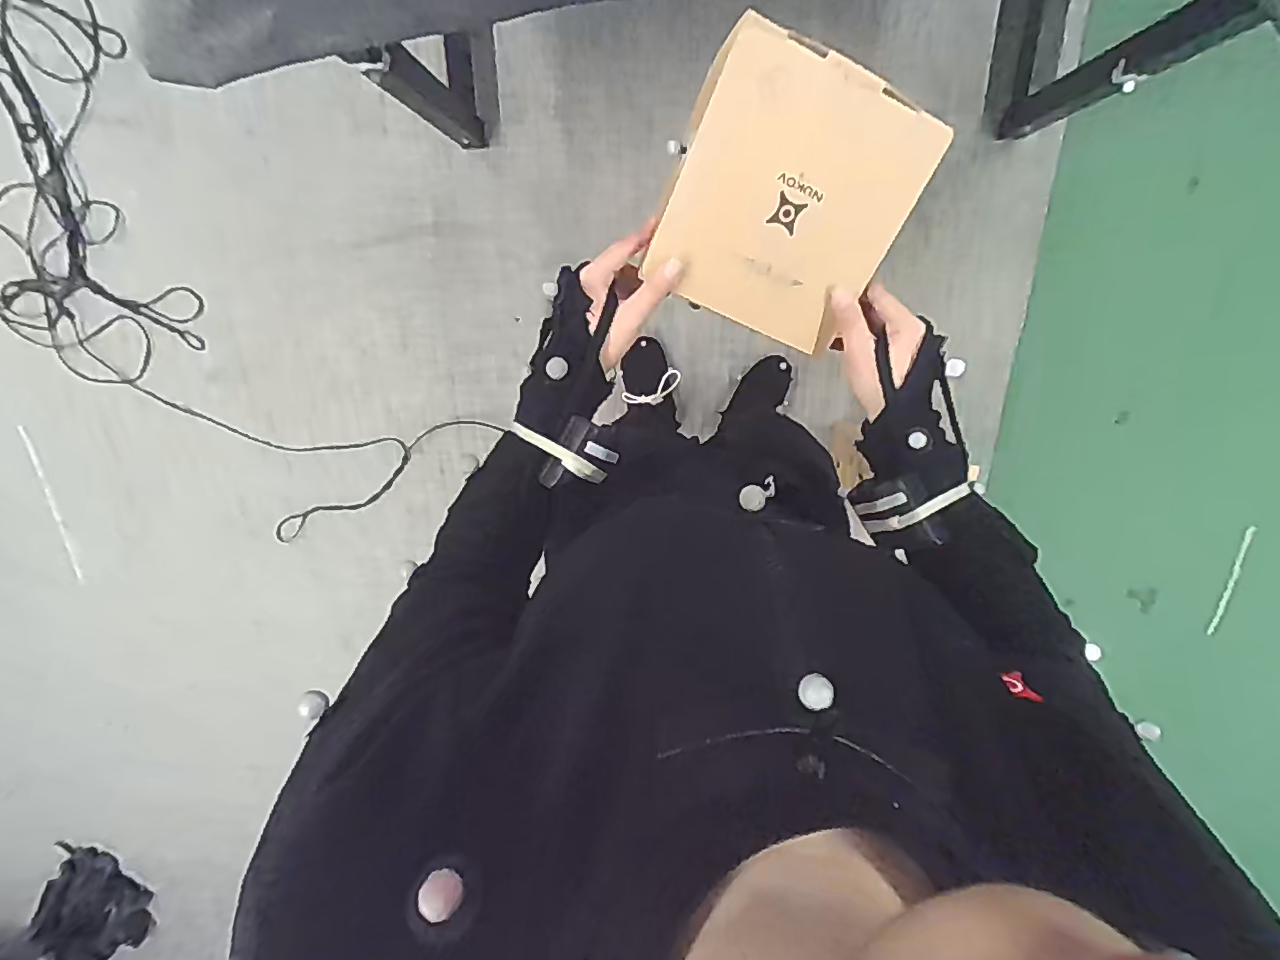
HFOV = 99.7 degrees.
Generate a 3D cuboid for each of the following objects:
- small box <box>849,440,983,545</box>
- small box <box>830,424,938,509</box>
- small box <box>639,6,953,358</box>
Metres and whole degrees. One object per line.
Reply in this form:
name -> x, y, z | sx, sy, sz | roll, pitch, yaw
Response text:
small box -> 0.548, 0.020, 1.099 | 0.179, 0.176, 0.168 | 3, 109, 2
small box -> 0.555, -0.033, 1.255 | 0.179, 0.176, 0.168 | 2, 108, 4
small box -> 0.103, -0.232, 0.453 | 0.168, 0.176, 0.179 | 20, 116, -10
